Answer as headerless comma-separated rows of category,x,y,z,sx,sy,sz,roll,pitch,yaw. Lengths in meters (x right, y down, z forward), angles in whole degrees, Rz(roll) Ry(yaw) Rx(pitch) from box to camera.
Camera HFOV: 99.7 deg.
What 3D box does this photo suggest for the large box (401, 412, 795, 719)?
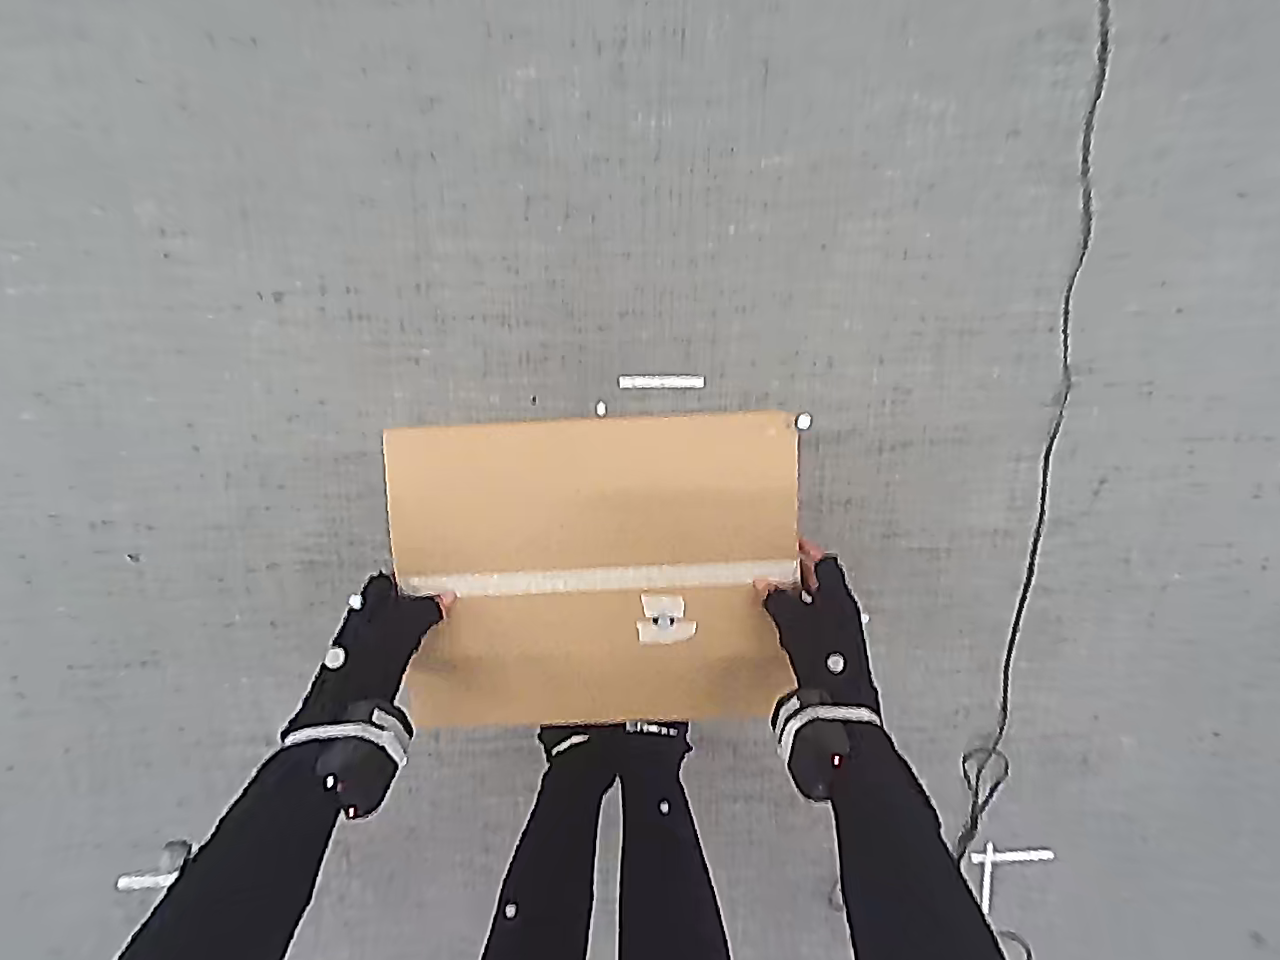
large box,-0.041,0.079,0.713,0.408,0.320,0.320,-3,97,0
